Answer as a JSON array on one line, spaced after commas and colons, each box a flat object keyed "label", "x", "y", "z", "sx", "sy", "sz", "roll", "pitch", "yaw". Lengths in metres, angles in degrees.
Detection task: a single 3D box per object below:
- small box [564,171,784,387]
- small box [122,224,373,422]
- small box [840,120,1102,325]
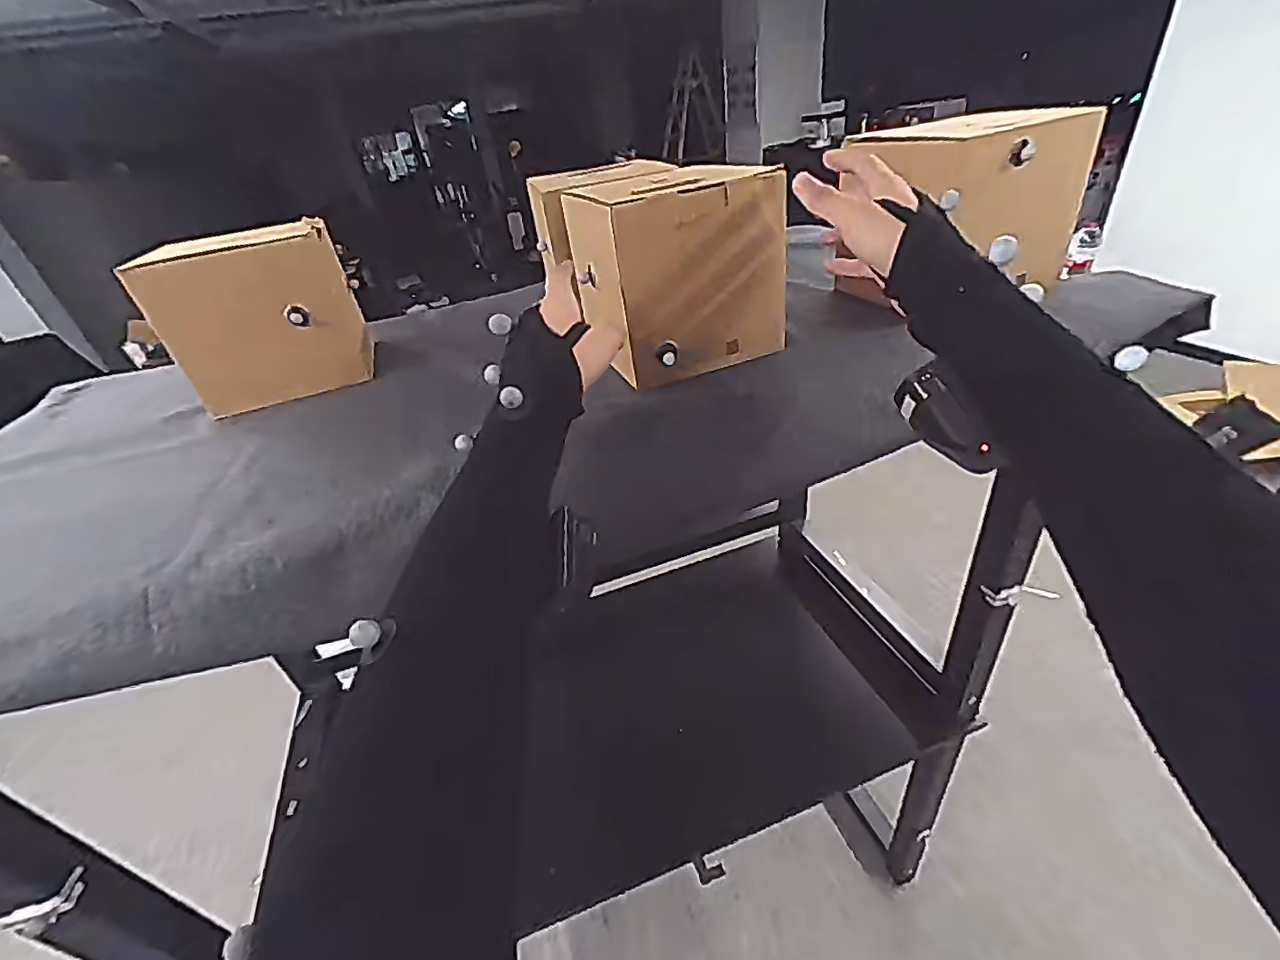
[{"label": "small box", "x": 0.035, "y": -0.210, "z": 0.565, "sx": 0.168, "sy": 0.176, "sz": 0.179, "roll": -18, "pitch": 34, "yaw": -13}, {"label": "small box", "x": -0.437, "y": -0.191, "z": 0.645, "sx": 0.179, "sy": 0.176, "sz": 0.168, "roll": -18, "pitch": 35, "yaw": -15}, {"label": "small box", "x": 0.343, "y": -0.286, "z": 0.603, "sx": 0.168, "sy": 0.176, "sz": 0.179, "roll": -18, "pitch": 34, "yaw": -12}]
